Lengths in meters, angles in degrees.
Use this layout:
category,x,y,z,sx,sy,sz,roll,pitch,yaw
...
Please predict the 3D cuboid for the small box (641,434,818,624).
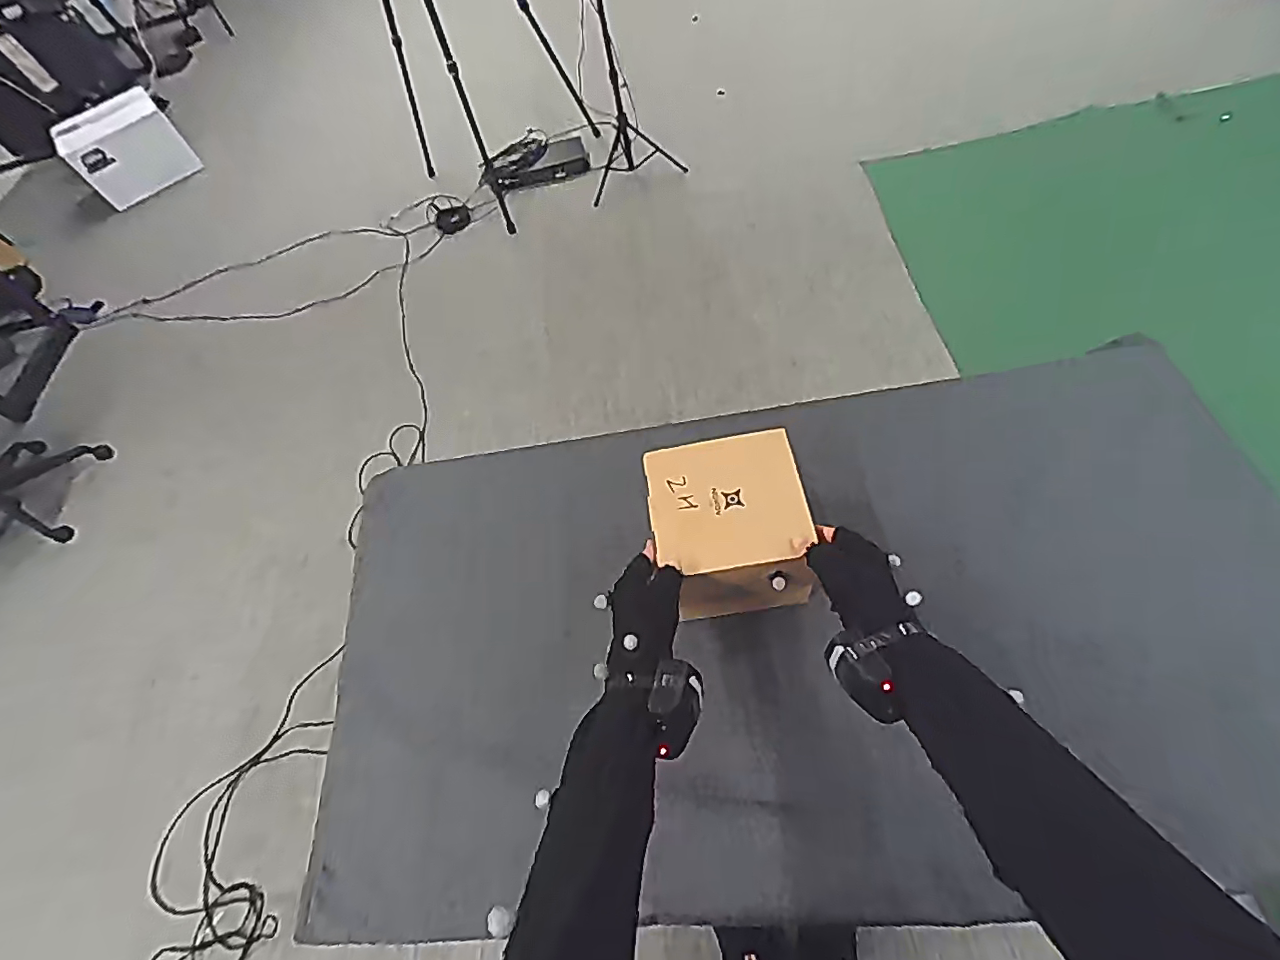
category,x,y,z,sx,sy,sz,roll,pitch,yaw
small box,0.106,0.069,0.675,0.179,0.176,0.168,-10,58,6
